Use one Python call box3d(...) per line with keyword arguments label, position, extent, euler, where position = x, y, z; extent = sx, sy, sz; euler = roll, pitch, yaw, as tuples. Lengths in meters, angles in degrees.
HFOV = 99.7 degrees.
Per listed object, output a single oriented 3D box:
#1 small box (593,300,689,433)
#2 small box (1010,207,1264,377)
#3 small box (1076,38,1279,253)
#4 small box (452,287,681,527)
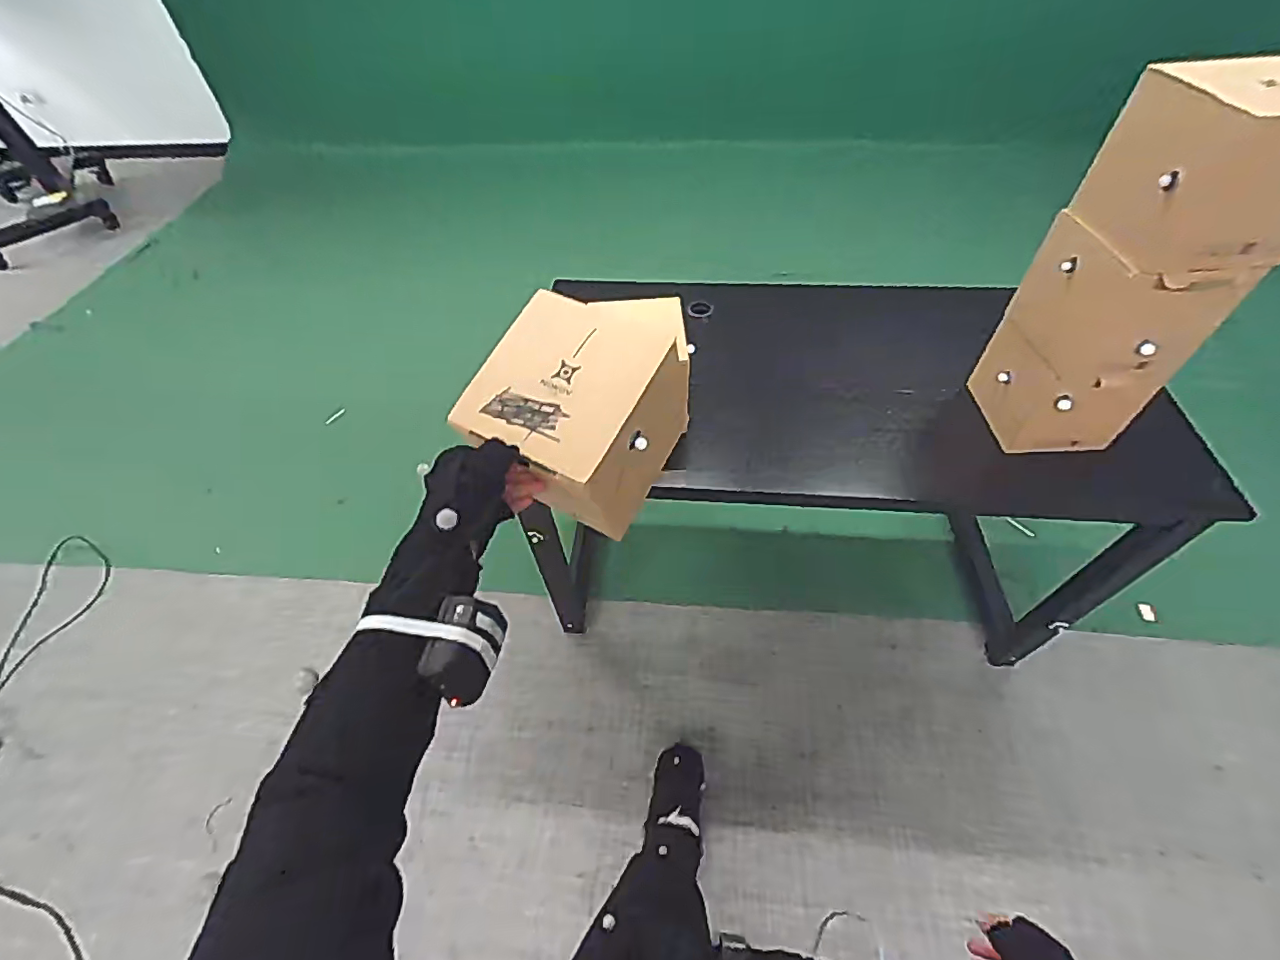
box3d(label="small box", position=(-0.006, -0.197, 0.966), extent=(0.168, 0.176, 0.179), euler=(-4, 53, 0))
box3d(label="small box", position=(0.675, -0.269, 0.768), extent=(0.168, 0.176, 0.179), euler=(-4, 52, 1))
box3d(label="small box", position=(0.672, -0.380, 0.627), extent=(0.168, 0.176, 0.179), euler=(-4, 51, 1))
box3d(label="small box", position=(-0.063, -0.071, 0.598), extent=(0.168, 0.176, 0.179), euler=(25, 73, 17))
